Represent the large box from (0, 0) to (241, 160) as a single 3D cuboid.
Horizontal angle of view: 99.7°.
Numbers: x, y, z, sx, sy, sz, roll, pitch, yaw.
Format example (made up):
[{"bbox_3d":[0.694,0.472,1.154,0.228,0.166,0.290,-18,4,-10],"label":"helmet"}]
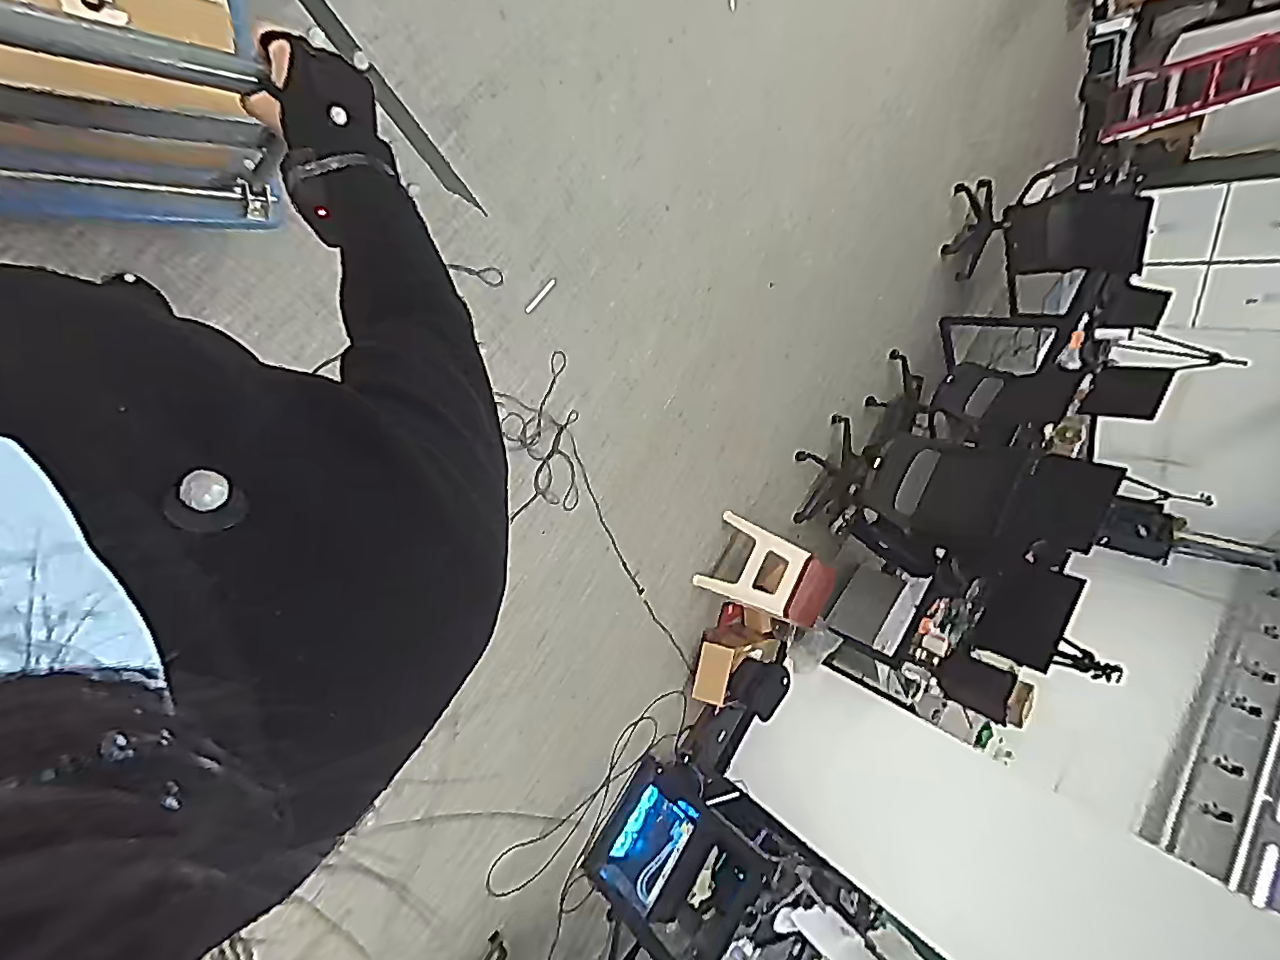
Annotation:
[{"bbox_3d":[-0.810,-0.636,0.688,0.408,0.320,0.320,-16,115,-41],"label":"large box"}]
